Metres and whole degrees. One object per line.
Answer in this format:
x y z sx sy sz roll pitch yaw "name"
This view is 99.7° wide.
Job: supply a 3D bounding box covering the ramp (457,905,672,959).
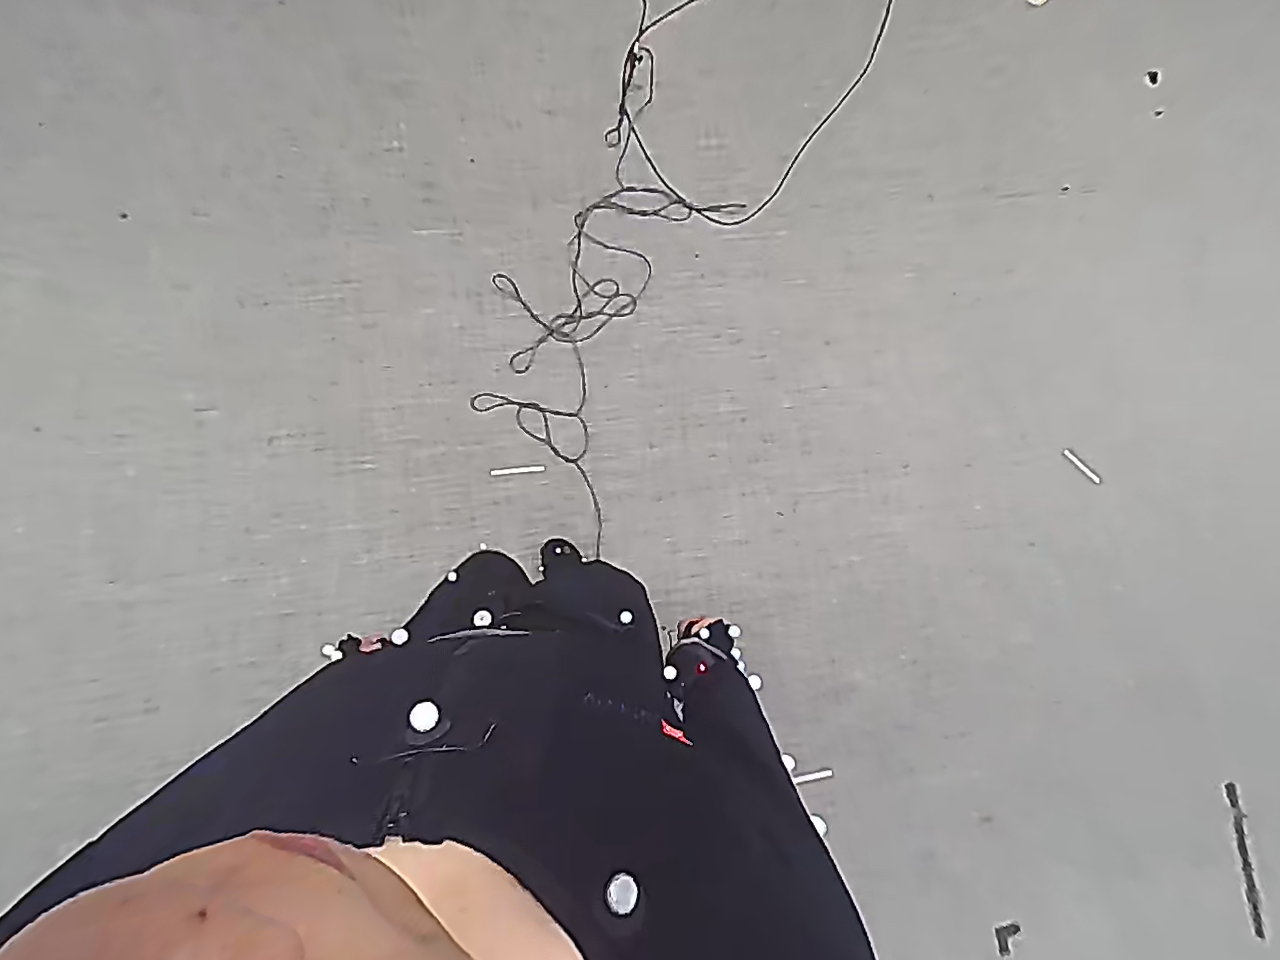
-0.110 1.506 1.107 0.509 0.206 0.991 -9 82 -5 "ramp"
